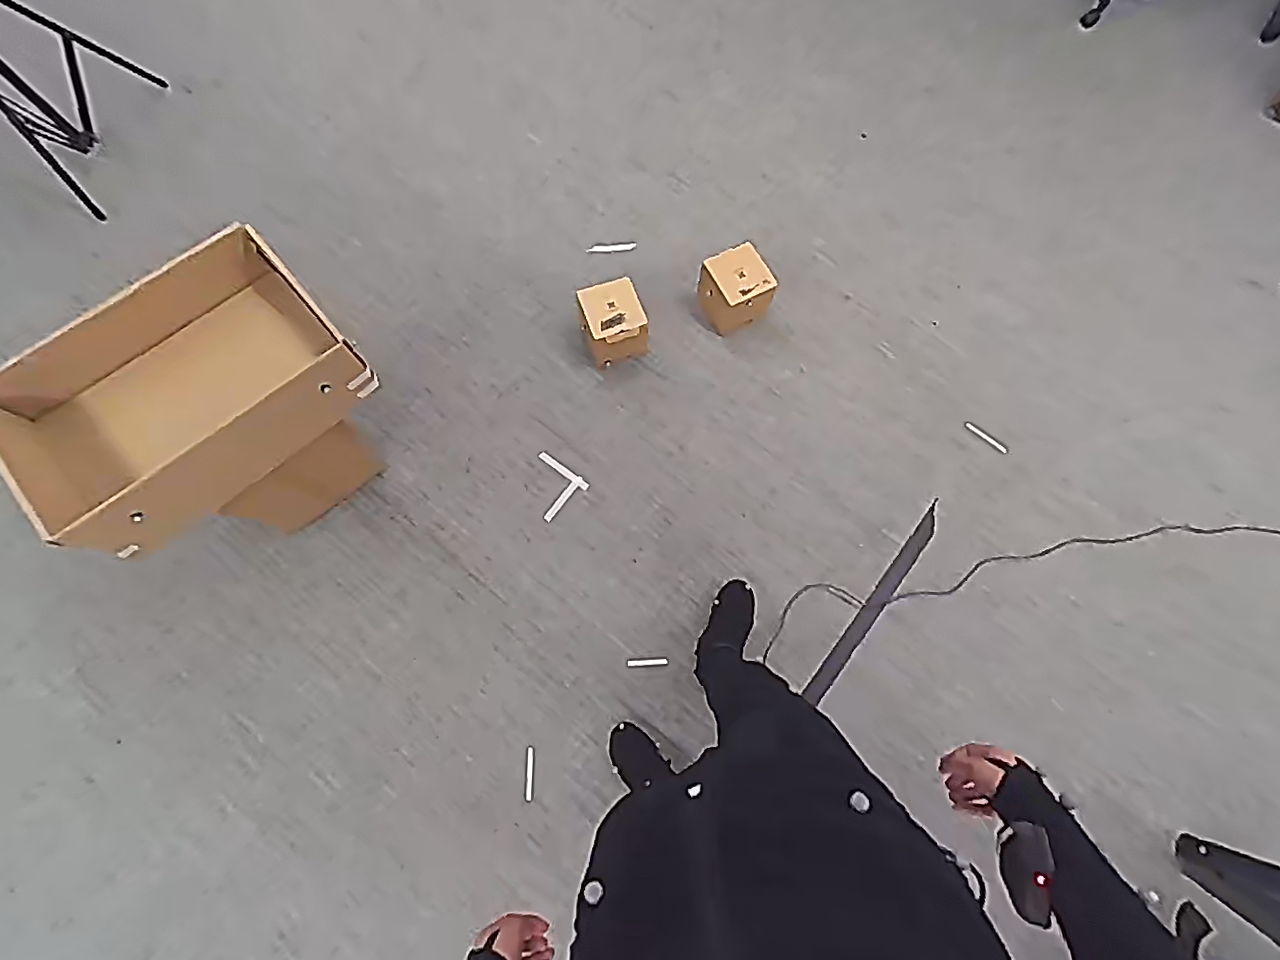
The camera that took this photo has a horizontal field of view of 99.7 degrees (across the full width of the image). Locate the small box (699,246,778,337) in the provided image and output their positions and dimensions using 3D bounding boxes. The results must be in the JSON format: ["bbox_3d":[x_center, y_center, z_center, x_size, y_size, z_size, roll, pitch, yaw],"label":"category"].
[{"bbox_3d":[0.297,-0.580,1.679,0.168,0.176,0.179,-26,74,-8],"label":"small box"}]

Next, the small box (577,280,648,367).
[{"bbox_3d":[-0.079,-0.463,1.636,0.168,0.176,0.179,-19,74,-7],"label":"small box"}]
